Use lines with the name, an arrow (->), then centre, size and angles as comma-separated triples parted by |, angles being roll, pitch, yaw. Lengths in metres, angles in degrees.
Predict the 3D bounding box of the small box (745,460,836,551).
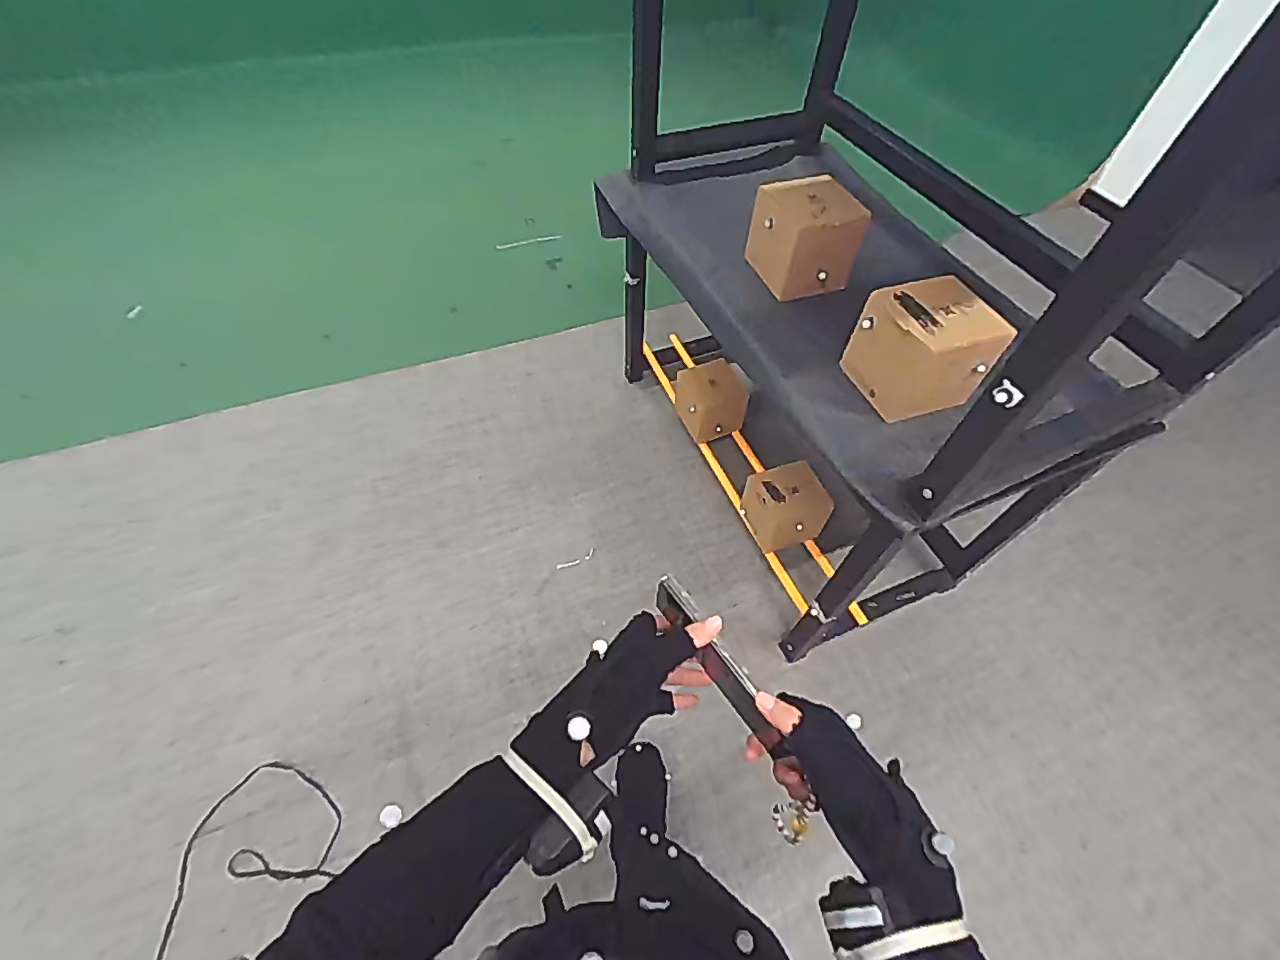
small box -> 0.403, 0.075, 1.495 | 0.179, 0.176, 0.168 | -16, 57, -12

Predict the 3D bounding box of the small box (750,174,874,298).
small box -> 0.351, -0.516, 1.148 | 0.168, 0.176, 0.179 | -16, 57, -12
